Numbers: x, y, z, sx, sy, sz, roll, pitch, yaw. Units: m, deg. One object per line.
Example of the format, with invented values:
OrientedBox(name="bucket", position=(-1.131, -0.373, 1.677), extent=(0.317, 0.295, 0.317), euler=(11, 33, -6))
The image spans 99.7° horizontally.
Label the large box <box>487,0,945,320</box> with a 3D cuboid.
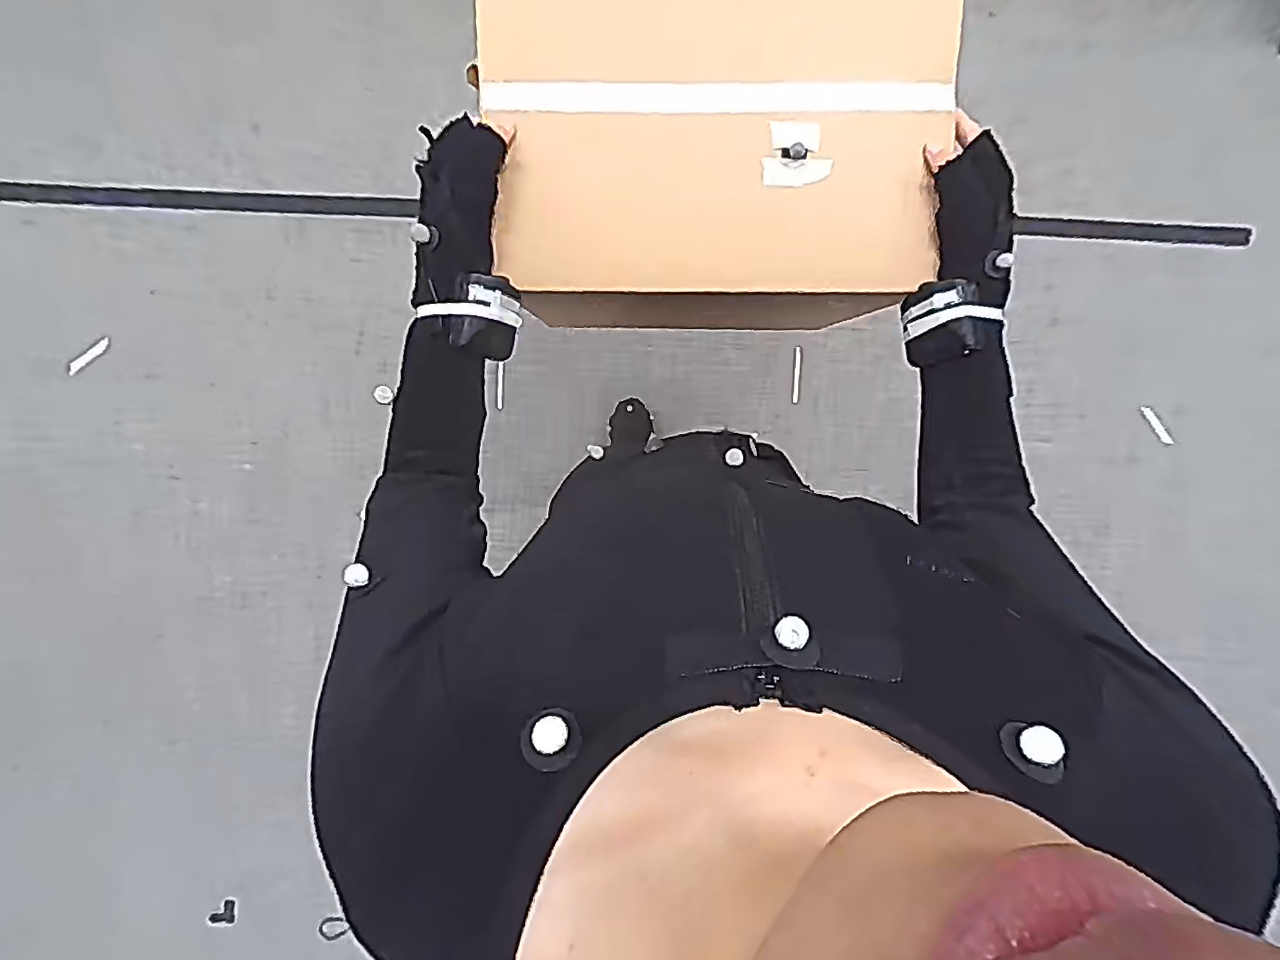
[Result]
OrientedBox(name="large box", position=(0.063, -0.365, 0.627), extent=(0.408, 0.320, 0.320), euler=(0, 101, -1))
